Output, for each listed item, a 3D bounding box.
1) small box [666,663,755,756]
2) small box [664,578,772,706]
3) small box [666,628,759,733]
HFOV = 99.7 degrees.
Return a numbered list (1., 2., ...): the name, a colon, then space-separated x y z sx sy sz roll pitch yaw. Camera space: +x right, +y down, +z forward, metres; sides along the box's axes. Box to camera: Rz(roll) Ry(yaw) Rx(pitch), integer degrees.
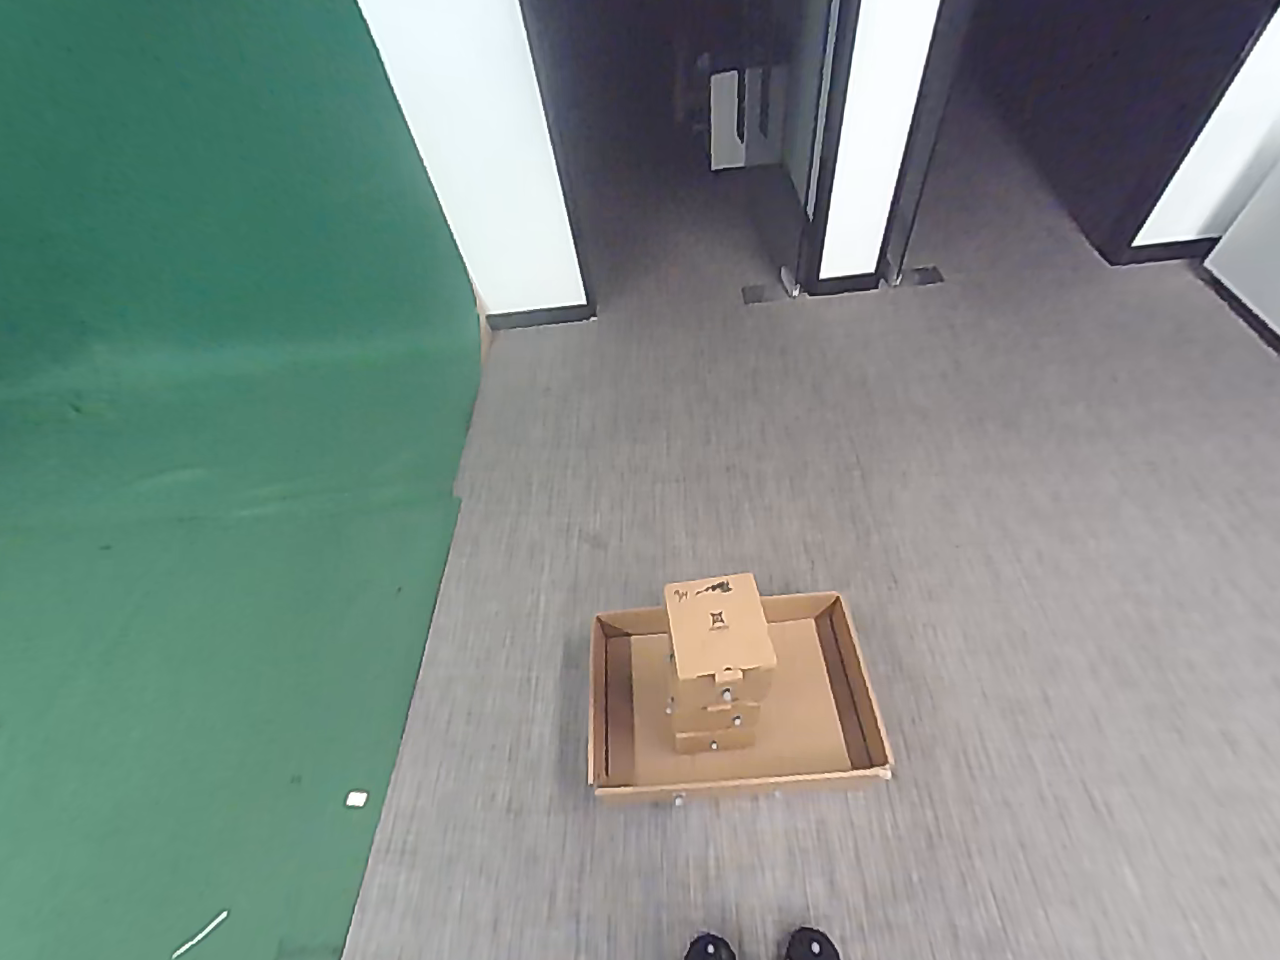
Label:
1. small box: 0.157 0.516 1.231 0.179 0.176 0.168 -7 50 3
2. small box: 0.137 0.302 0.988 0.168 0.176 0.179 -6 51 1
3. small box: 0.144 0.409 1.112 0.168 0.176 0.179 -4 49 2
